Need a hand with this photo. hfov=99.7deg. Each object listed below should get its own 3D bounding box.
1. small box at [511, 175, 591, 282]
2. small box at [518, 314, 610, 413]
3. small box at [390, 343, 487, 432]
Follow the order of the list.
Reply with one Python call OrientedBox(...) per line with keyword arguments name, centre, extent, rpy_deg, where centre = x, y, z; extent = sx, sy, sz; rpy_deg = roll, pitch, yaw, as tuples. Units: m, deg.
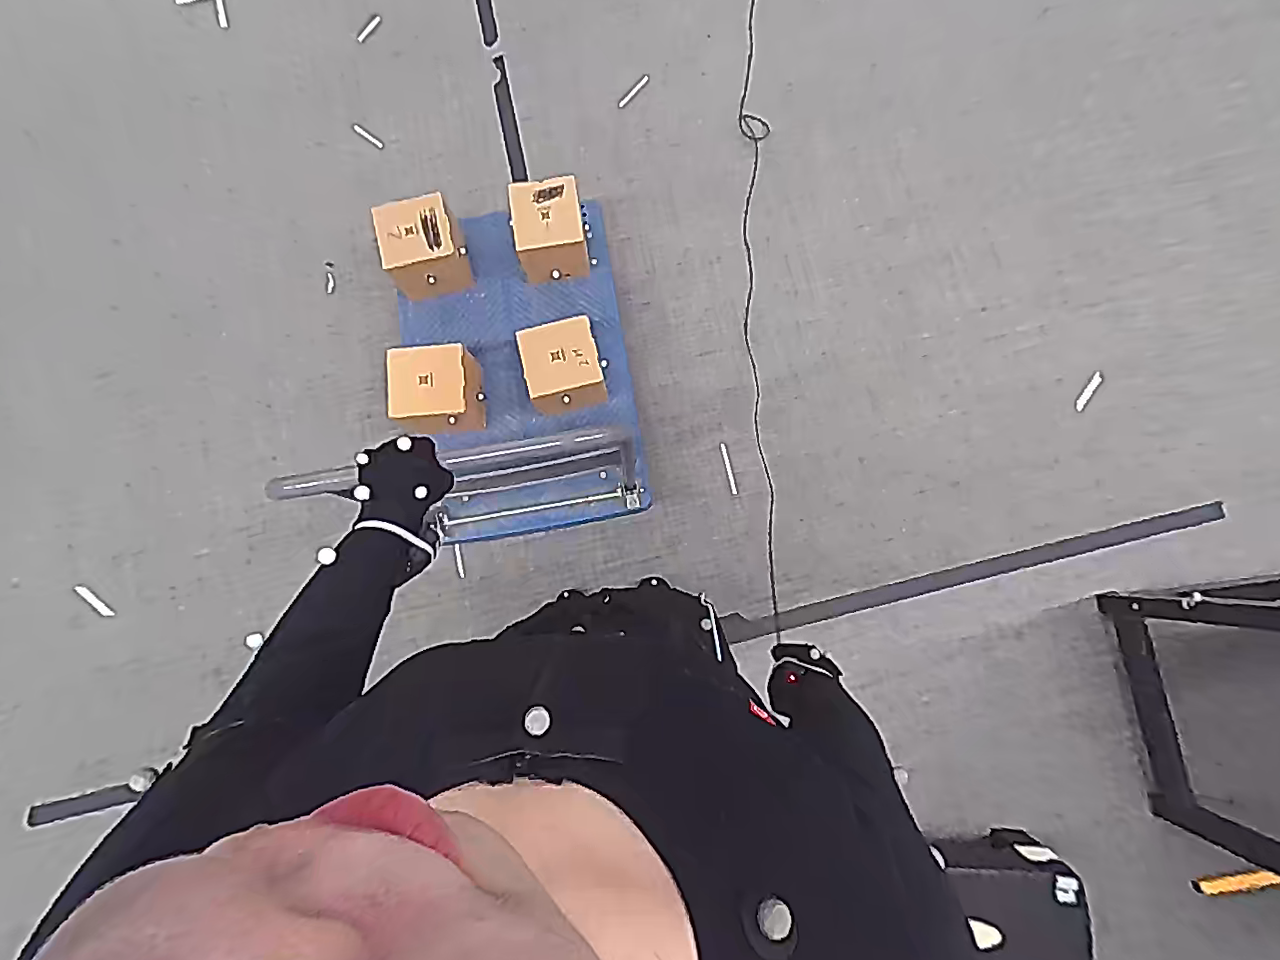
OrientedBox(name="small box", centre=(-0.220, -0.632, 1.369), extent=(0.168, 0.176, 0.179), rpy_deg=(-9, 83, -1))
OrientedBox(name="small box", centre=(-0.179, -0.276, 1.319), extent=(0.179, 0.176, 0.168), rpy_deg=(-14, 82, -1))
OrientedBox(name="small box", centre=(-0.483, -0.218, 1.314), extent=(0.179, 0.176, 0.168), rpy_deg=(-5, 81, -2))
